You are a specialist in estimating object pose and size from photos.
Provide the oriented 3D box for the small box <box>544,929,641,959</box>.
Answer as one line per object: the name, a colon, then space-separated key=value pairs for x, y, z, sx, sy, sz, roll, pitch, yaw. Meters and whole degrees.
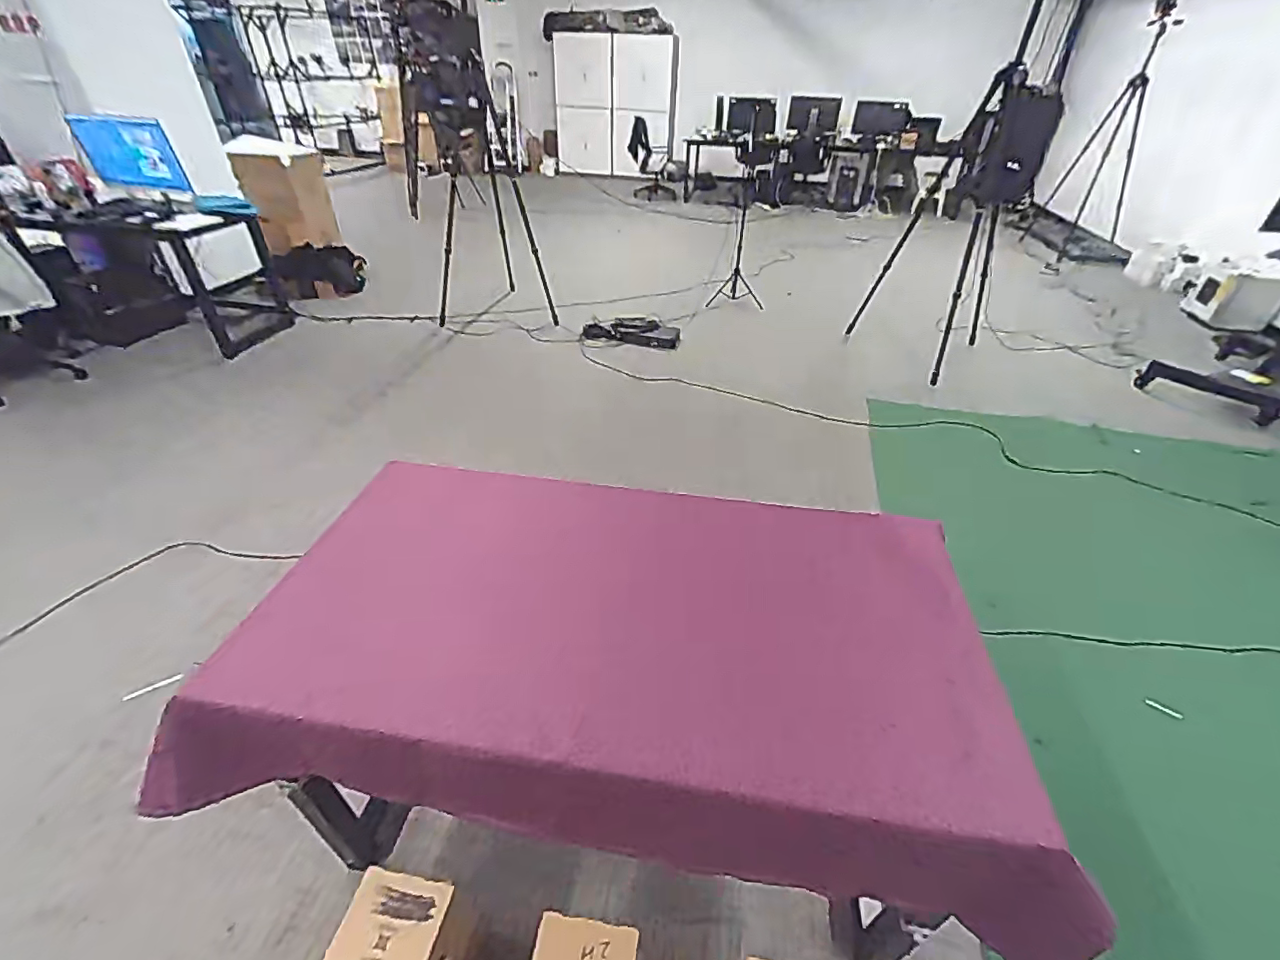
small box: x=-0.099 y=0.984 z=1.011 sx=0.179 sy=0.176 sz=0.168 roll=7 pitch=38 yaw=8
